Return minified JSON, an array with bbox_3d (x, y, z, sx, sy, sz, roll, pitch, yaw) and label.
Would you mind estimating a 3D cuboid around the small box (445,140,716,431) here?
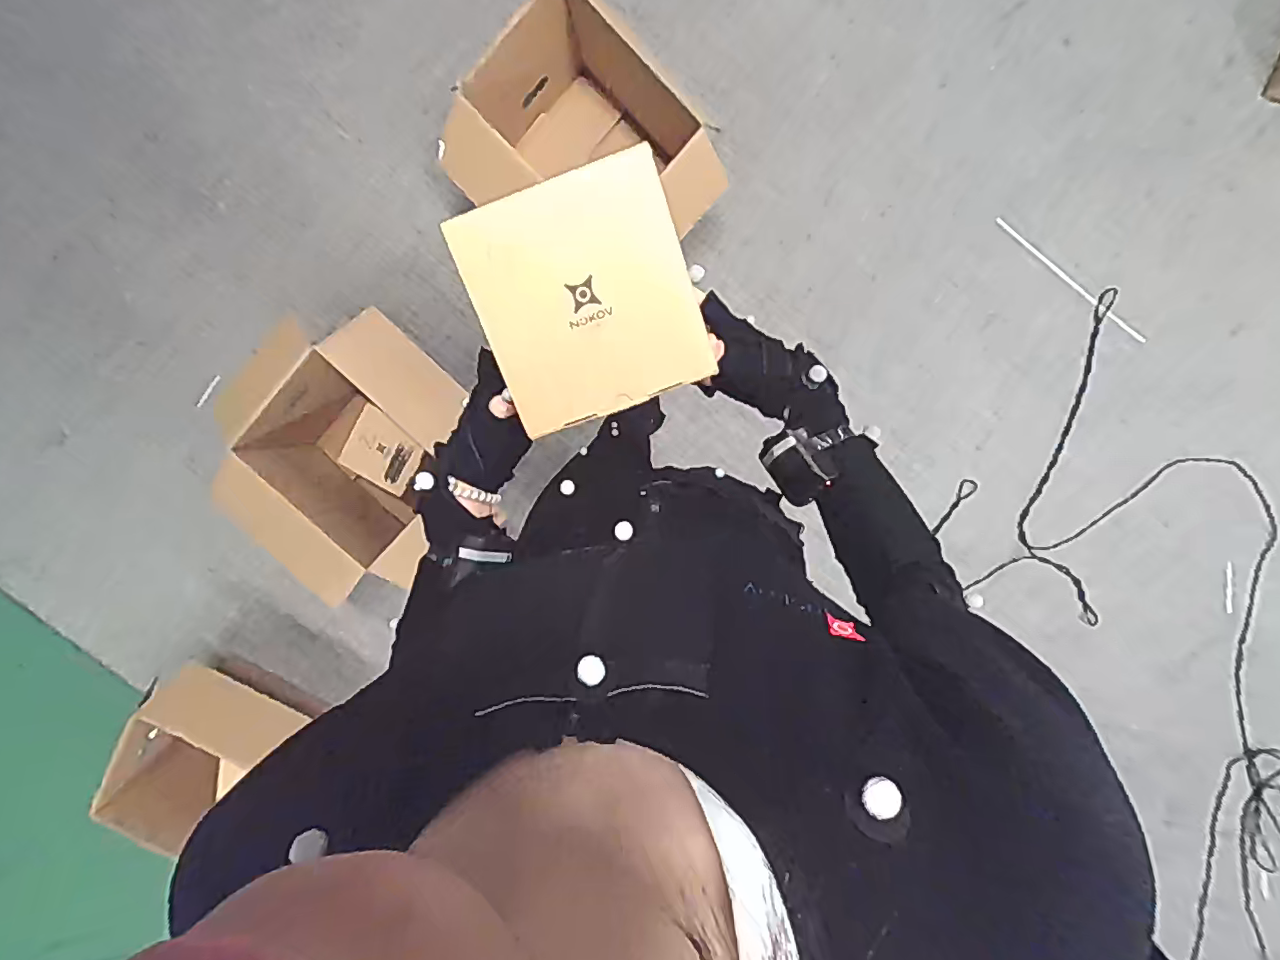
[{"bbox_3d":[-0.045,-0.164,0.492,0.168,0.176,0.179,-20,106,4],"label":"small box"}]
